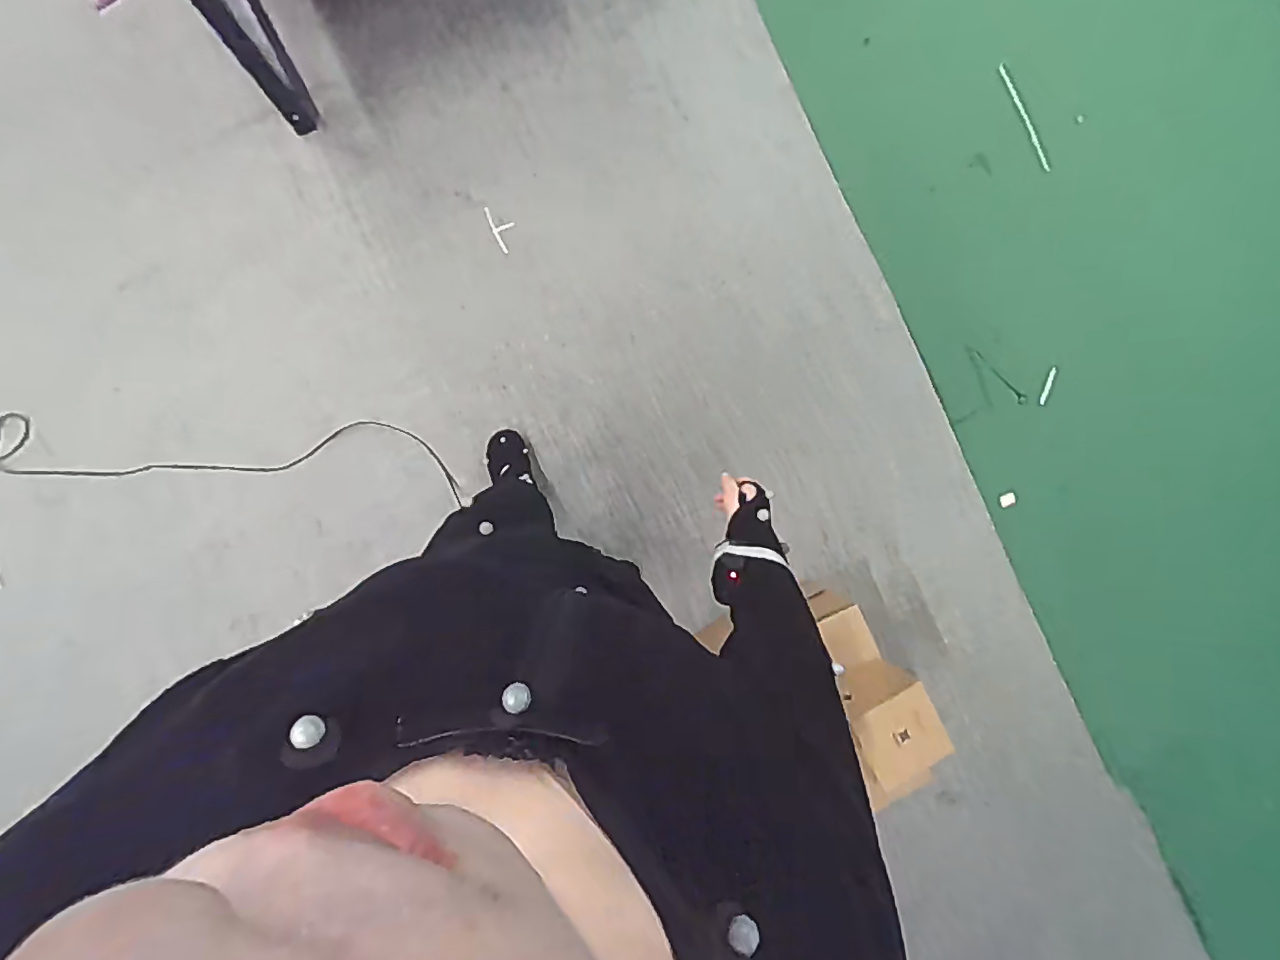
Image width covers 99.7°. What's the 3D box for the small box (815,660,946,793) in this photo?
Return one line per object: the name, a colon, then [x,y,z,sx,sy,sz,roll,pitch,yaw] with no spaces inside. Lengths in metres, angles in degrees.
small box: [0.504,0.520,1.166,0.179,0.176,0.168,-26,93,-7]
